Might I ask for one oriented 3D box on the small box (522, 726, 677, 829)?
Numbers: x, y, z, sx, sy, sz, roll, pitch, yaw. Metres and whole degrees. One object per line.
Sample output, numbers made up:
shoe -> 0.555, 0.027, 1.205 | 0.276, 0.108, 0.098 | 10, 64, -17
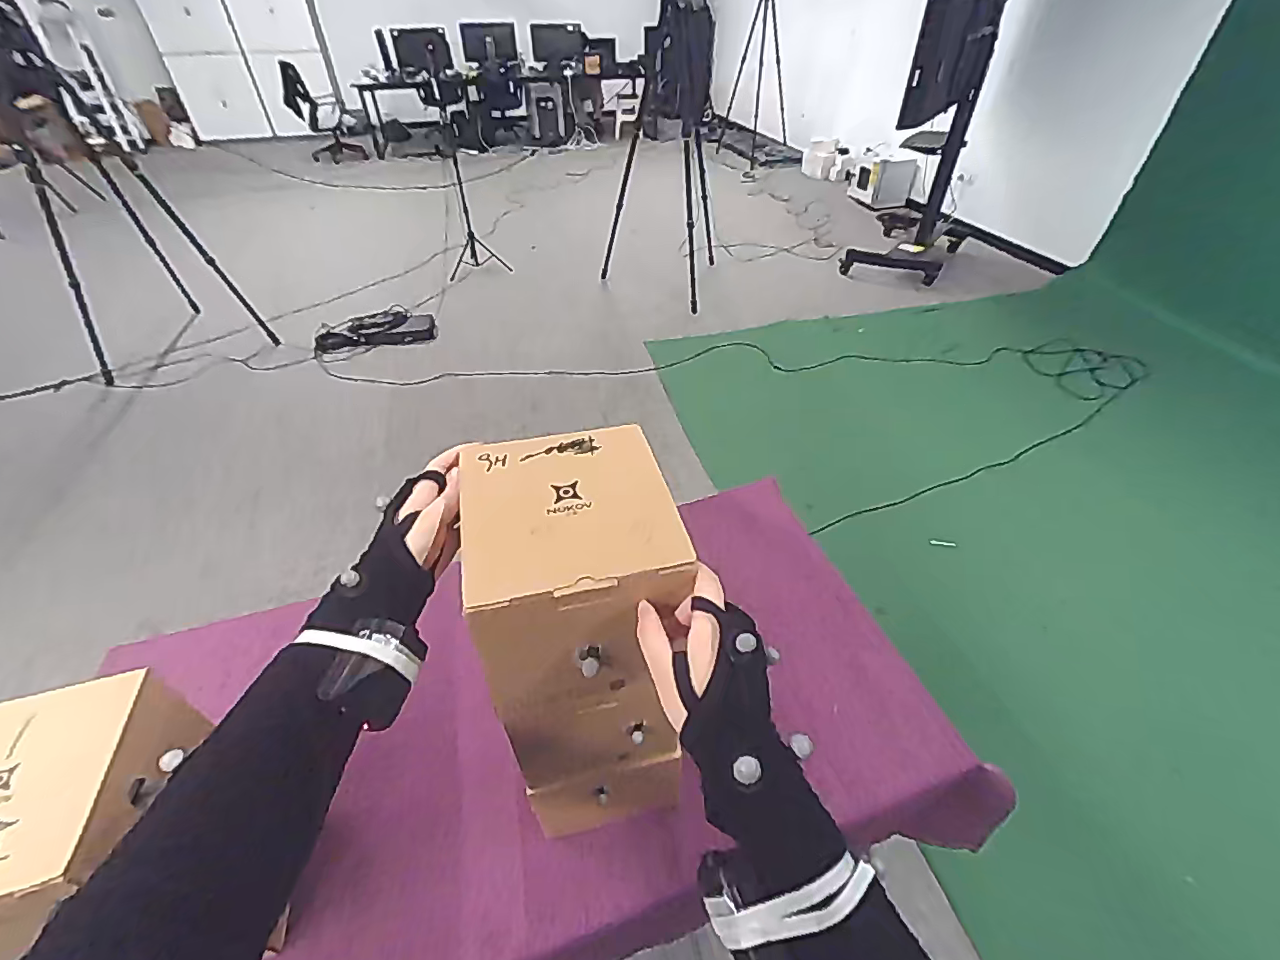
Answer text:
small box -> -0.054, 0.325, 0.704 | 0.179, 0.176, 0.168 | -10, 43, -8

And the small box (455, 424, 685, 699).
small box -> -0.064, 0.076, 0.489 | 0.168, 0.176, 0.179 | -9, 44, -11

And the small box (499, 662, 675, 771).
small box -> -0.060, 0.198, 0.600 | 0.168, 0.176, 0.179 | -9, 42, -9

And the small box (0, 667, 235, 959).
small box -> -0.515, 0.310, 0.496 | 0.168, 0.176, 0.179 | -12, 42, -13
